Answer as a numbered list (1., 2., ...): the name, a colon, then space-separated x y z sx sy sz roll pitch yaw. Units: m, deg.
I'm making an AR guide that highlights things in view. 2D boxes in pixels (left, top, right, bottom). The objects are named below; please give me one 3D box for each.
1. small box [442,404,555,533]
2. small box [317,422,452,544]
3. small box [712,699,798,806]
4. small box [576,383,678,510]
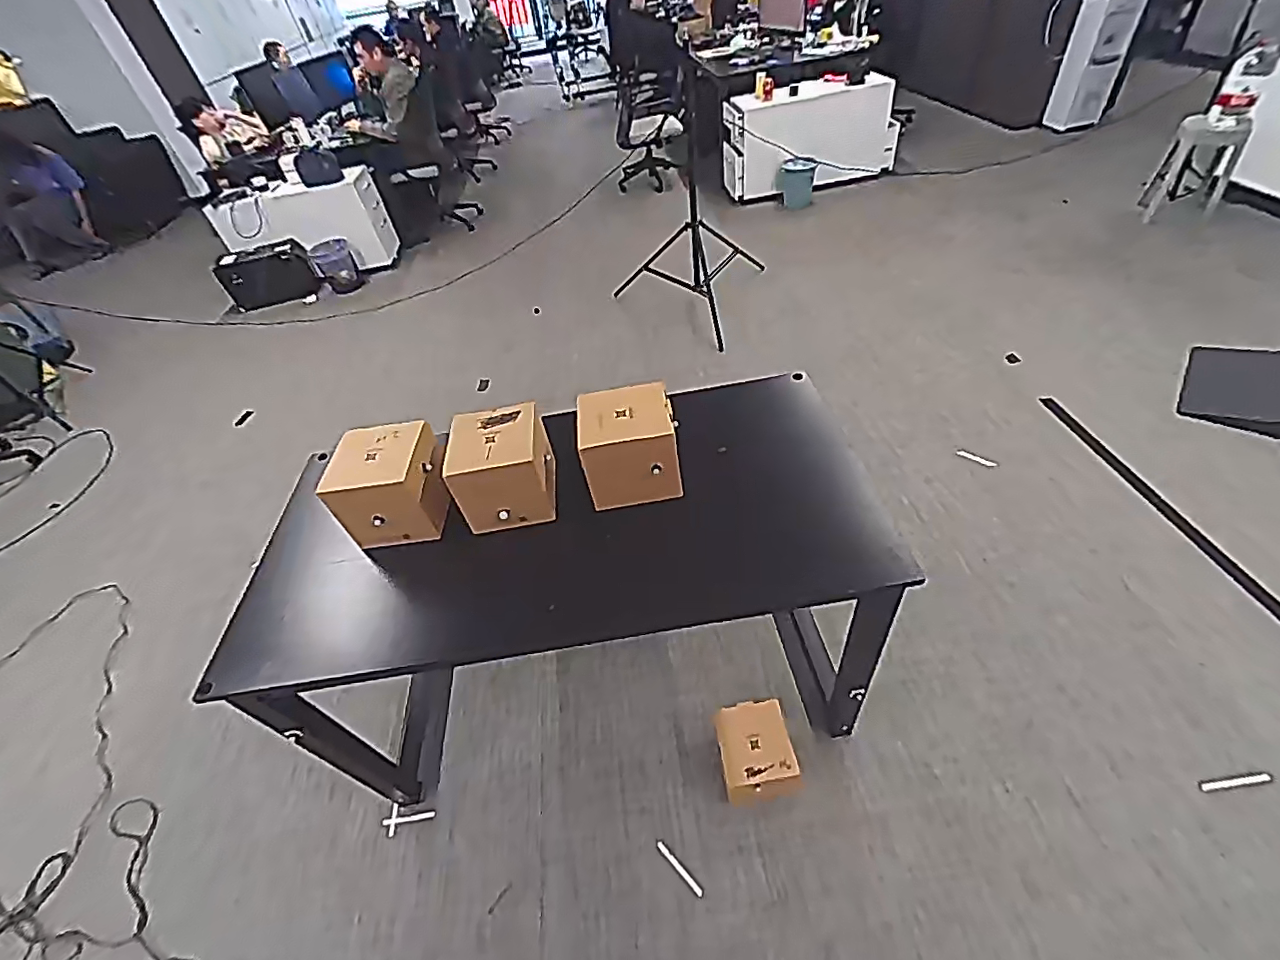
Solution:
1. small box: -0.268 -0.022 1.065 0.168 0.176 0.179 -10 45 1
2. small box: -0.490 0.013 1.072 0.168 0.176 0.179 -7 45 3
3. small box: 0.274 0.664 1.316 0.168 0.176 0.179 -11 44 1
4. small box: -0.023 -0.063 1.063 0.179 0.176 0.168 -11 43 2
